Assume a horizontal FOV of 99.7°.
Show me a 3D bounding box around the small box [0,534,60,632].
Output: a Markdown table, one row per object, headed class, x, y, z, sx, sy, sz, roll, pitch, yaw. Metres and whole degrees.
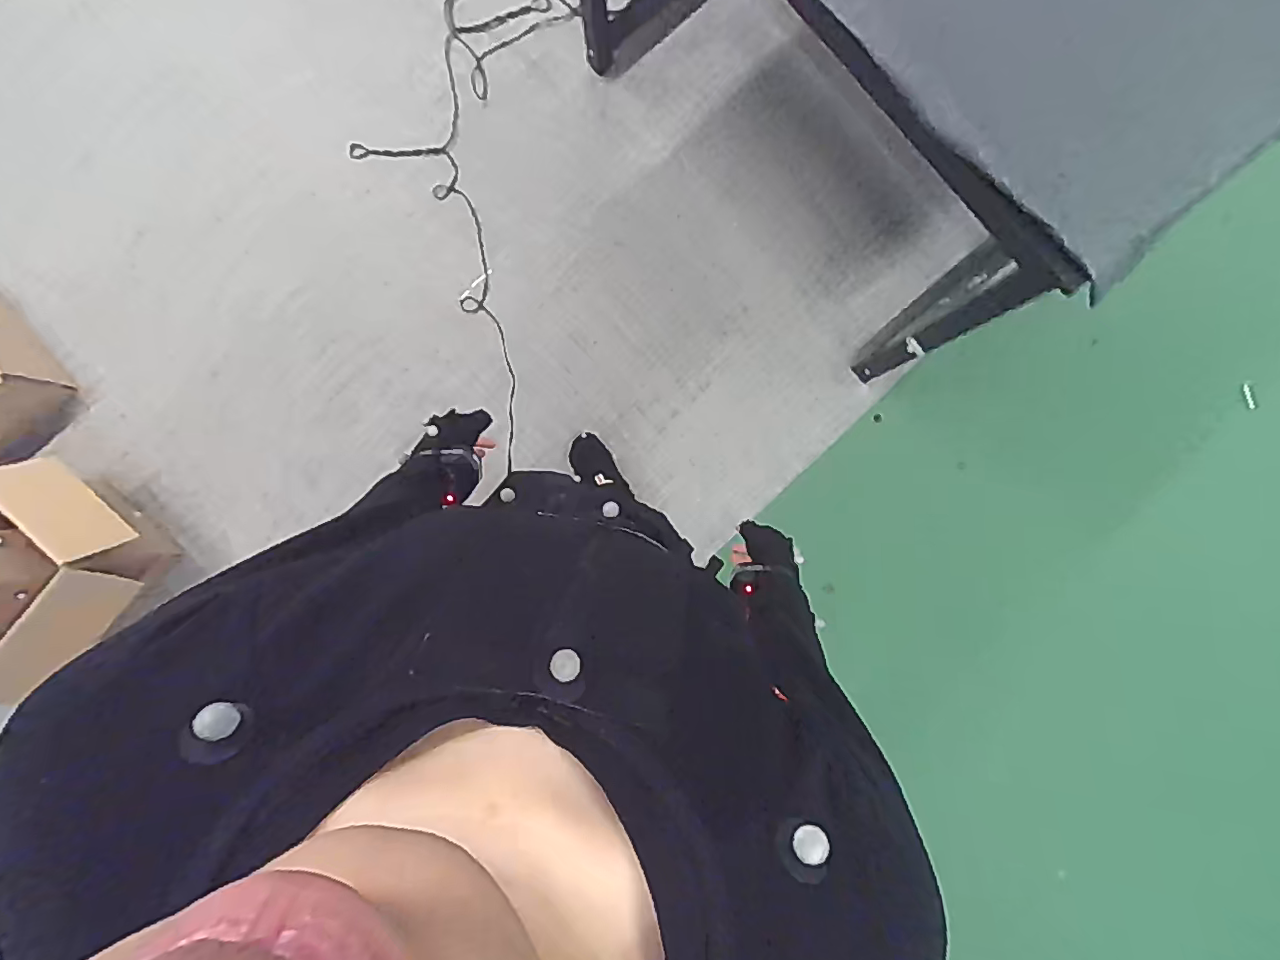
| class | x | y | z | sx | sy | sz | roll | pitch | yaw |
| --- | --- | --- | --- | --- | --- | --- | --- | --- | --- |
| small box | -1.483 | 0.235 | 1.212 | 0.168 | 0.176 | 0.179 | 41 | 88 | 2 |
